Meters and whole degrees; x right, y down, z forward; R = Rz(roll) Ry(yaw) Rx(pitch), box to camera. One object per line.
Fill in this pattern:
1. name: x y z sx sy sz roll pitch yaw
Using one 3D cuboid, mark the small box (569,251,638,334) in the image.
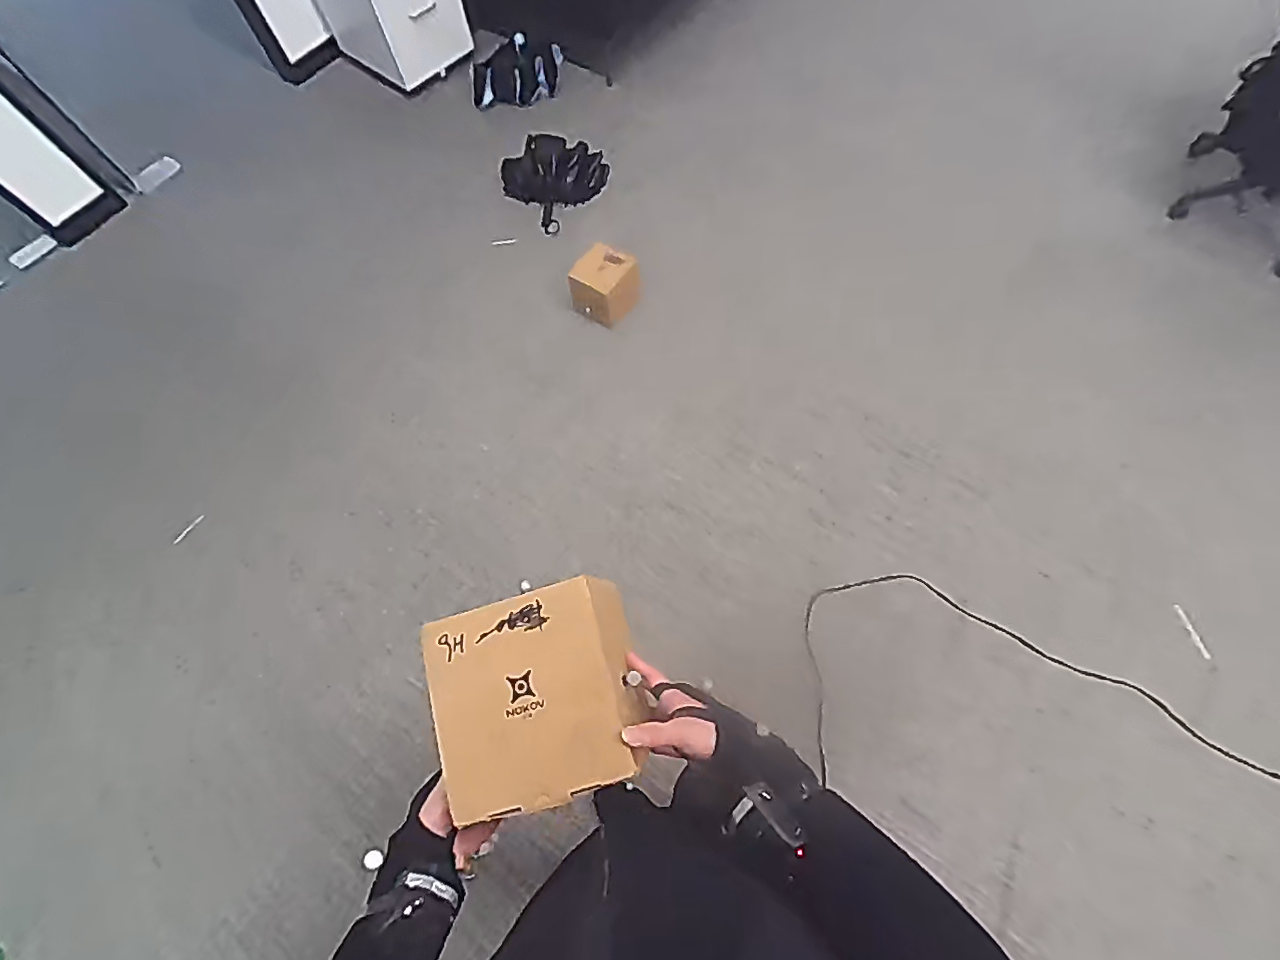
1. small box: -0.117 -0.640 1.856 0.168 0.176 0.179 31 73 17
